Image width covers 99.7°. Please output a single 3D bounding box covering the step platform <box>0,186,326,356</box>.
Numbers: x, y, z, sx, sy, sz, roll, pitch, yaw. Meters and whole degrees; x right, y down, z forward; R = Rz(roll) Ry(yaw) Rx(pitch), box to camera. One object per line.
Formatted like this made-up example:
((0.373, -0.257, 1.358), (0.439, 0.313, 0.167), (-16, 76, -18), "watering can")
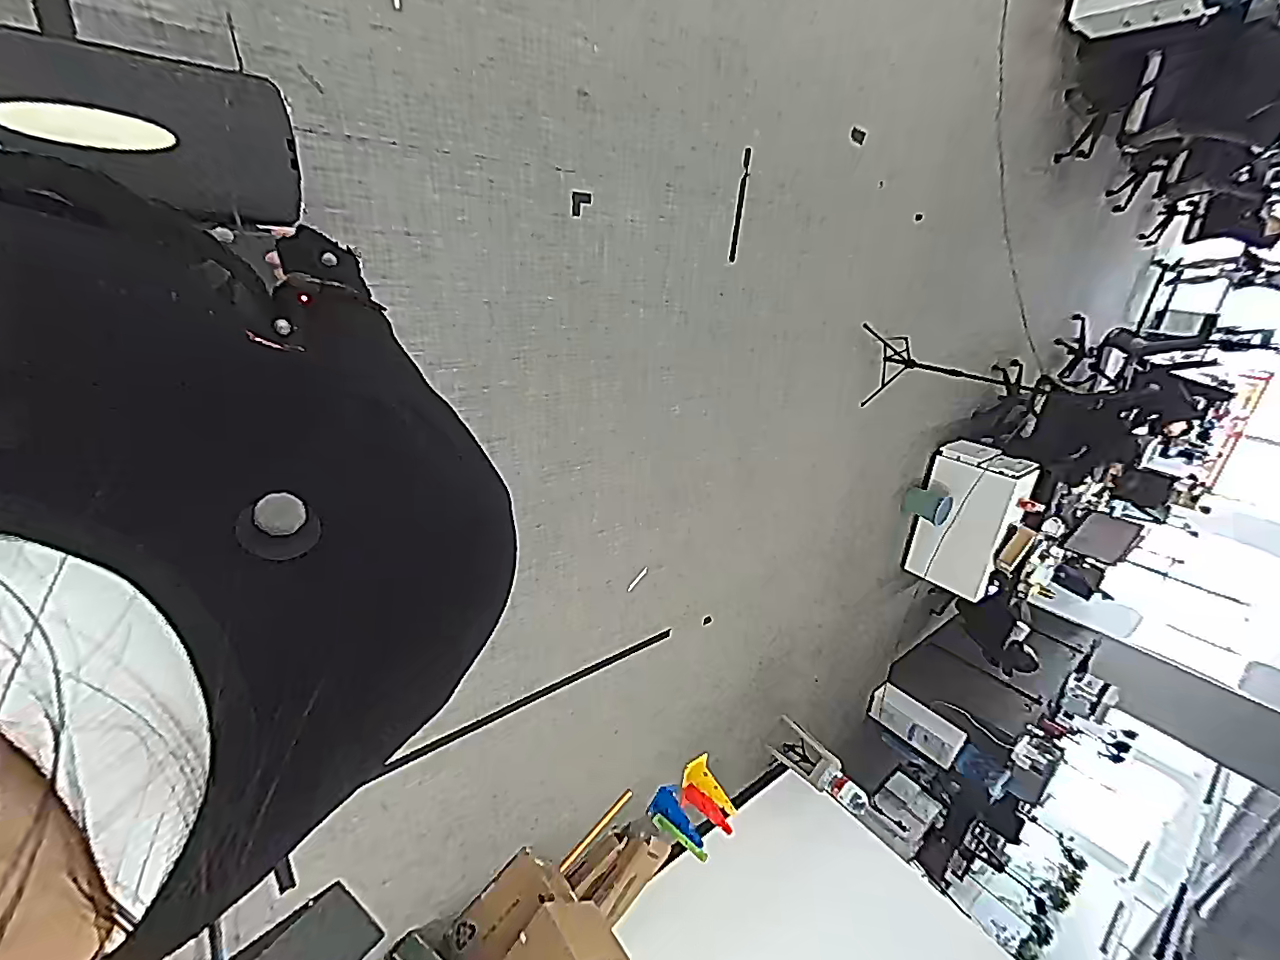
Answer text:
((-1.025, -0.414, 1.084), (0.684, 0.204, 0.286), (-14, 119, -35), "step platform")
